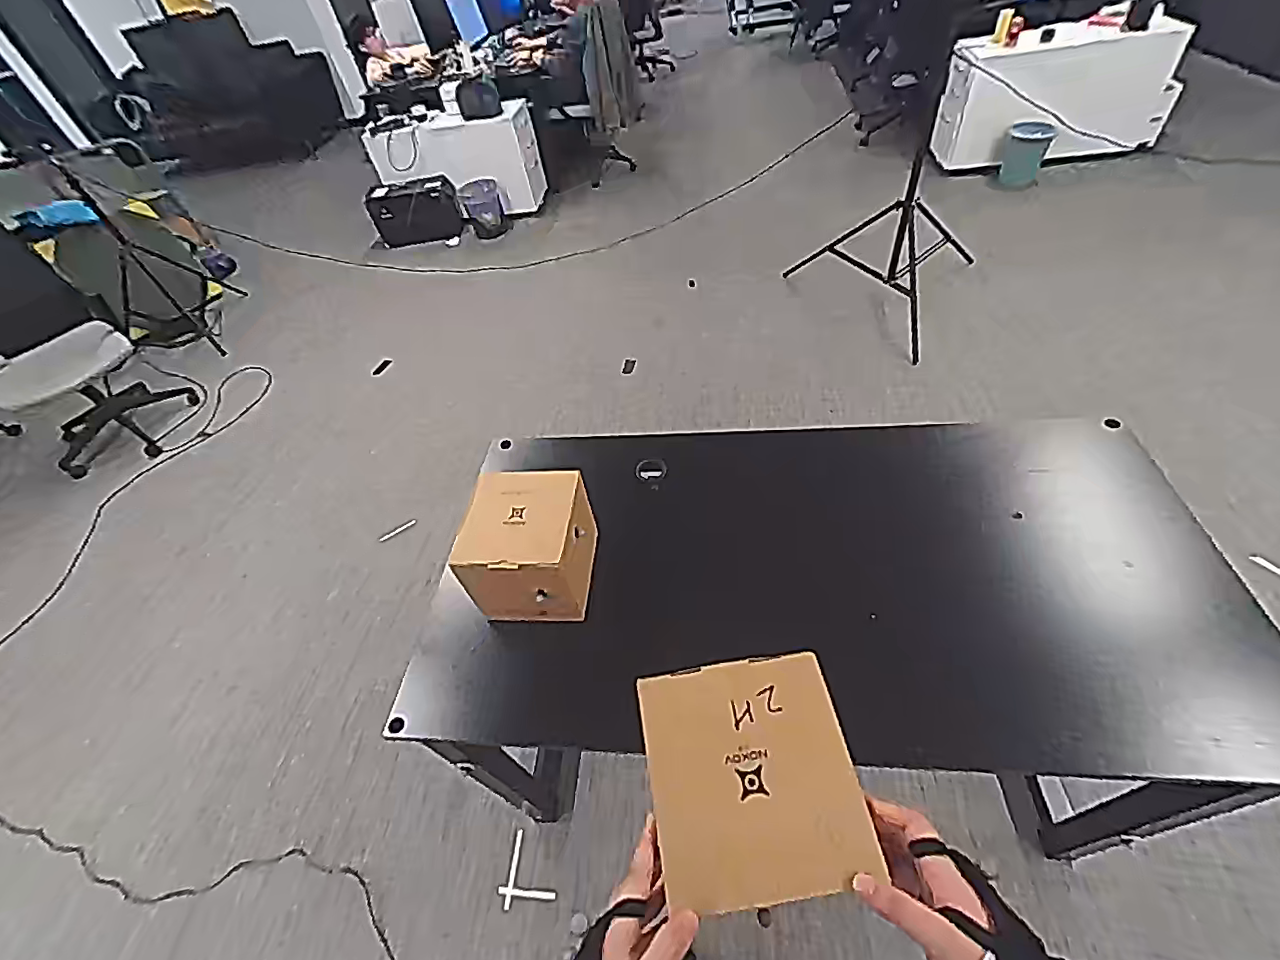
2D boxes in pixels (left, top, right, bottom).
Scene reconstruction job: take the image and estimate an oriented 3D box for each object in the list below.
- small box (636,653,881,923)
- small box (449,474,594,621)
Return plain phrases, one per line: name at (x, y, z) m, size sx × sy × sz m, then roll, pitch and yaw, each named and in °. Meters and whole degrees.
small box at (0.093, 0.286, 0.505) m, size 0.168 × 0.176 × 0.179 m, roll -9°, pitch 52°, yaw -1°
small box at (-0.173, 0.110, 0.859) m, size 0.168 × 0.176 × 0.179 m, roll -1°, pitch 48°, yaw 7°
